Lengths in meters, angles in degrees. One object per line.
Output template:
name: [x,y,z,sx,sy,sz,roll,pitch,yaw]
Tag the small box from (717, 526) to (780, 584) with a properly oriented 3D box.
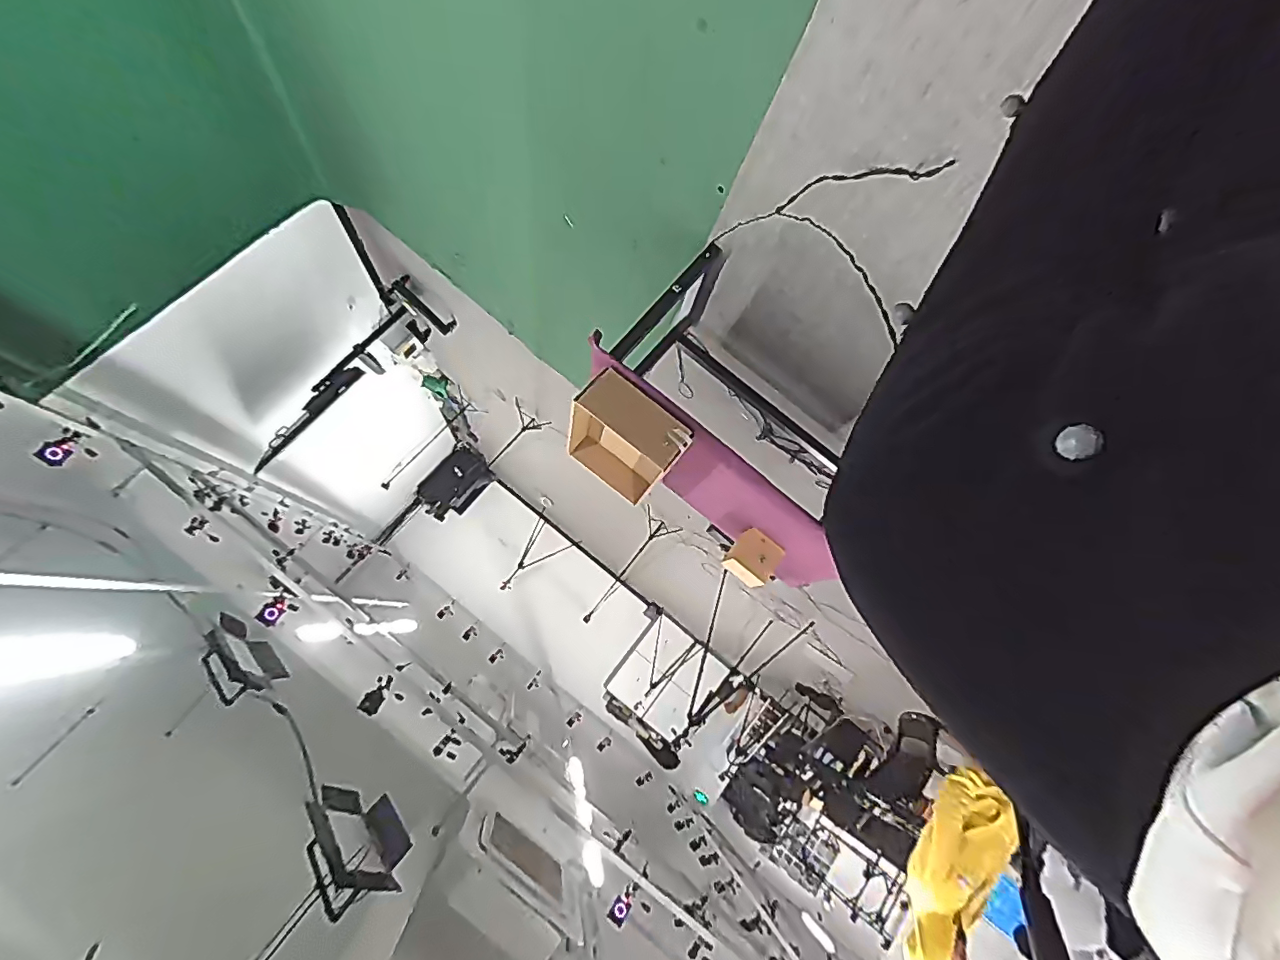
small box: [0.450,0.309,2.225,0.168,0.176,0.179,39,163,3]
